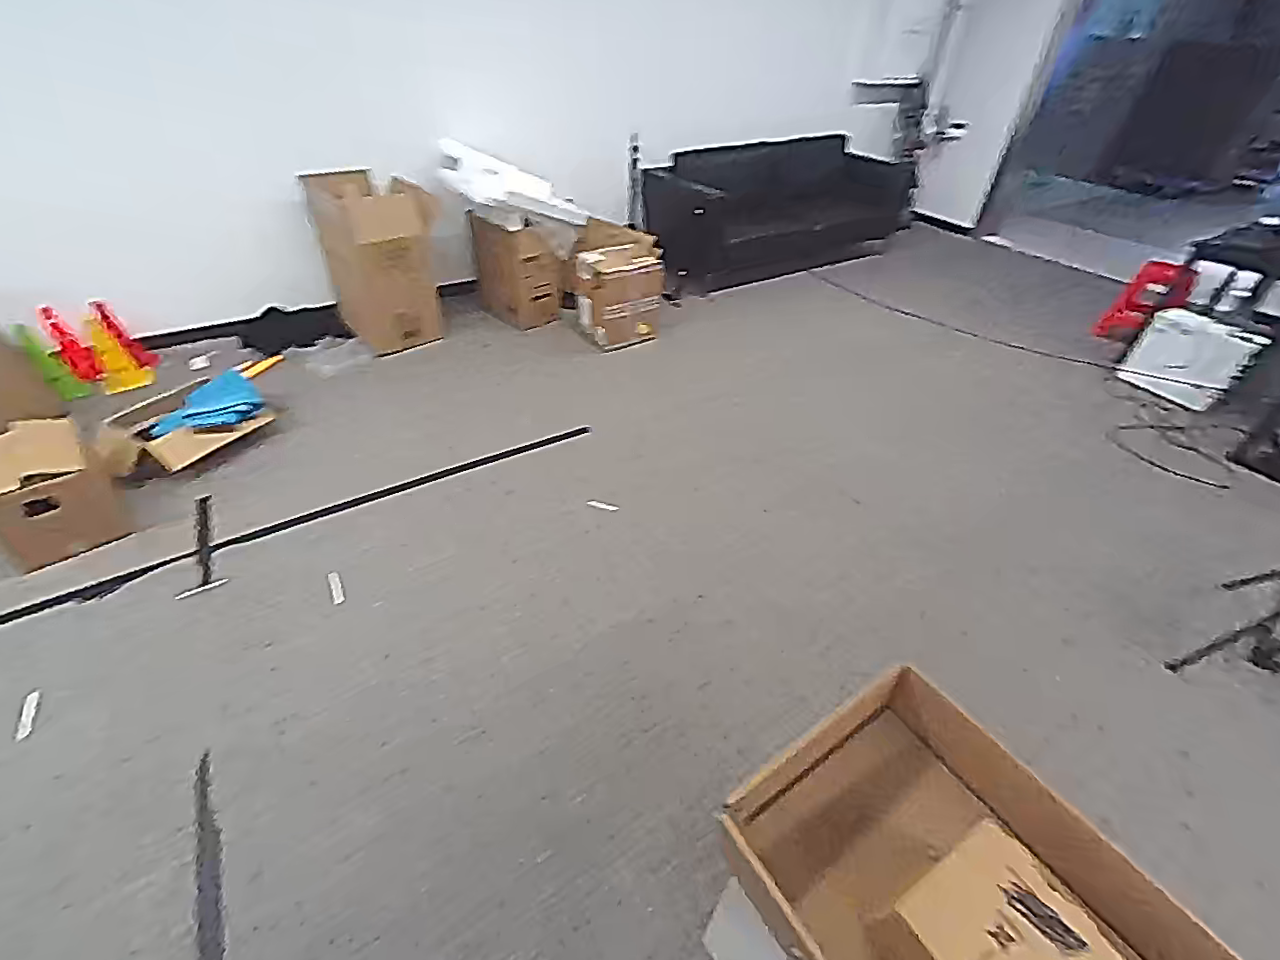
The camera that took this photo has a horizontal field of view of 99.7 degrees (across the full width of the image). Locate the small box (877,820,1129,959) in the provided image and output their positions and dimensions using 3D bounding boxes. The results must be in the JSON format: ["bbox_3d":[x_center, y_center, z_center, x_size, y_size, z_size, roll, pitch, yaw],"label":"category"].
[{"bbox_3d":[0.424,0.568,0.663,0.179,0.176,0.168,-25,47,-21],"label":"small box"}]
